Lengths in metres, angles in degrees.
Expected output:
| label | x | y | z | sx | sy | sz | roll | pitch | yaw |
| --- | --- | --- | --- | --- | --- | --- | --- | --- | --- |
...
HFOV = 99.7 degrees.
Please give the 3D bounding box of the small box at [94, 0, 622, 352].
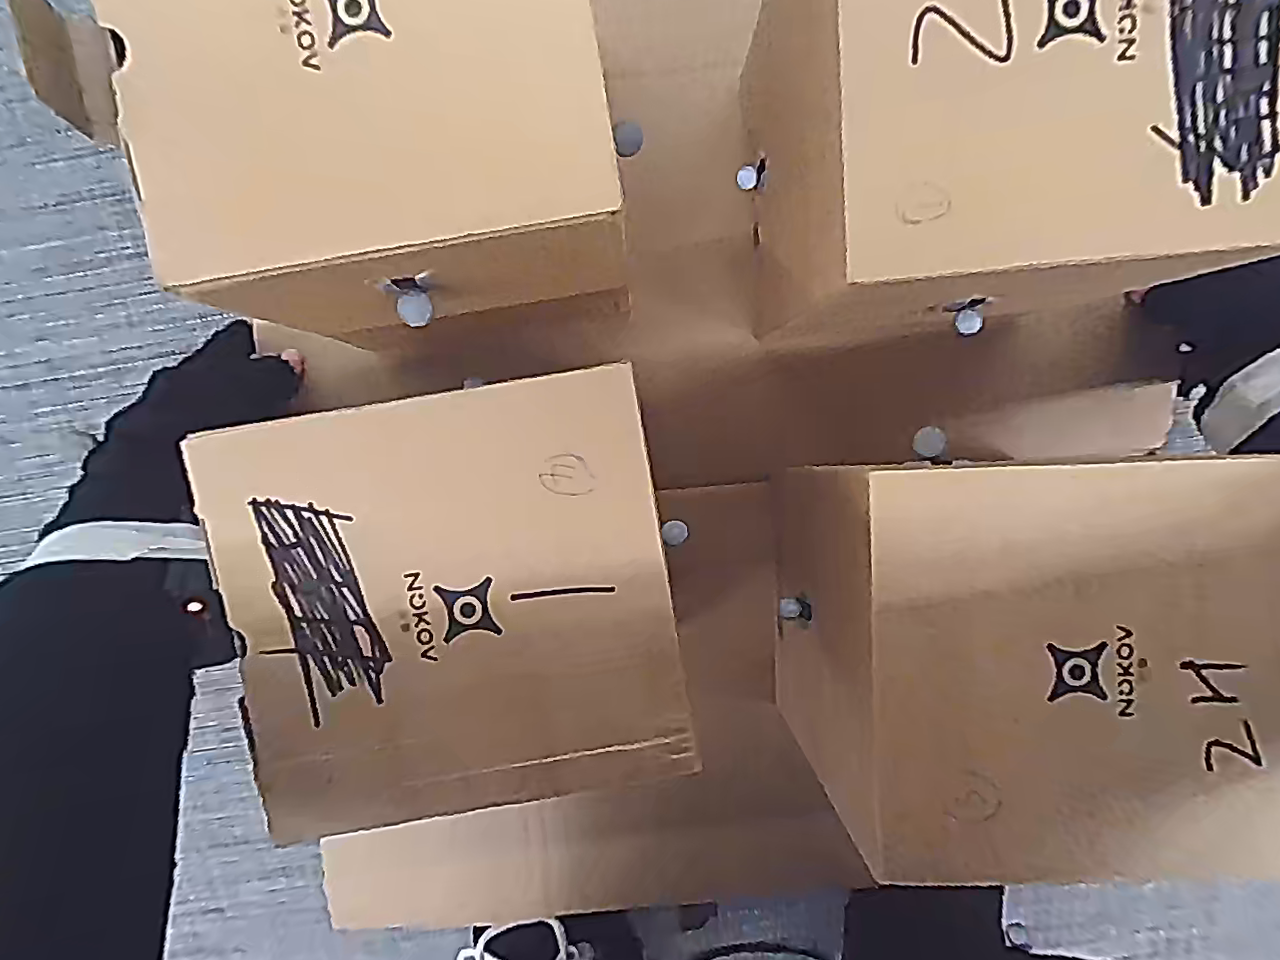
| label | x | y | z | sx | sy | sz | roll | pitch | yaw |
| --- | --- | --- | --- | --- | --- | --- | --- | --- | --- |
| small box | -0.106 | -0.168 | 0.276 | 0.179 | 0.176 | 0.168 | -10 | 96 | 3 |
